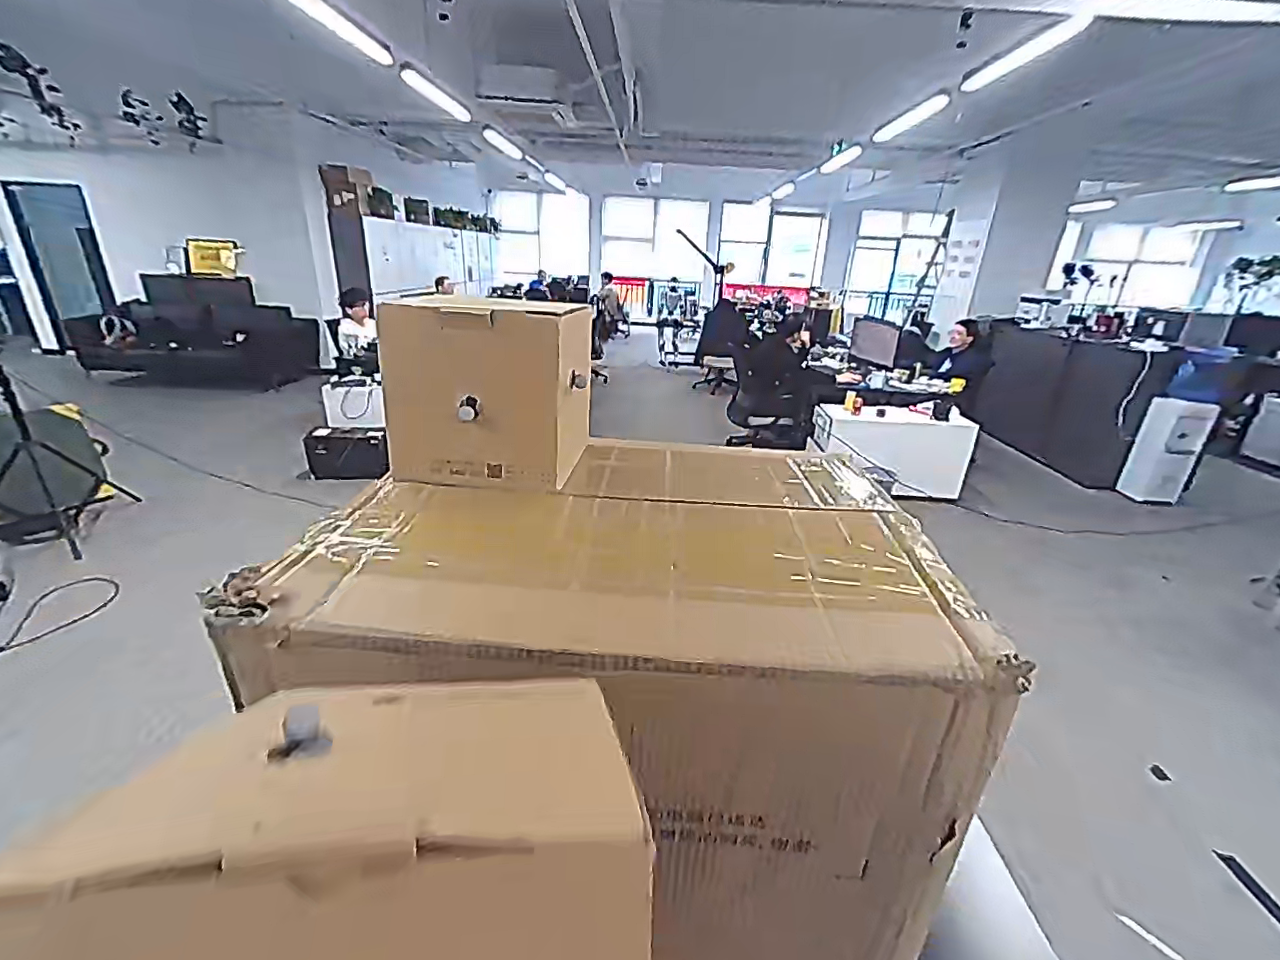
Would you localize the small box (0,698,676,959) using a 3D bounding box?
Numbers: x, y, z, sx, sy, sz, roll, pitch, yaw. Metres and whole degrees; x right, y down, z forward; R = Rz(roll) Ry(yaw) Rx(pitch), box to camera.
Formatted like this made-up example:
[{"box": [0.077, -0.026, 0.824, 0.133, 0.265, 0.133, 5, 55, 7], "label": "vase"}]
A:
[{"box": [-0.086, 0.186, 0.194, 0.168, 0.179, 0.176, 2, -7, -10], "label": "small box"}]

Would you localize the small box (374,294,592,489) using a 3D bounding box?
[{"box": [-0.144, -0.098, 0.564, 0.168, 0.176, 0.179, 5, 21, 3], "label": "small box"}]
